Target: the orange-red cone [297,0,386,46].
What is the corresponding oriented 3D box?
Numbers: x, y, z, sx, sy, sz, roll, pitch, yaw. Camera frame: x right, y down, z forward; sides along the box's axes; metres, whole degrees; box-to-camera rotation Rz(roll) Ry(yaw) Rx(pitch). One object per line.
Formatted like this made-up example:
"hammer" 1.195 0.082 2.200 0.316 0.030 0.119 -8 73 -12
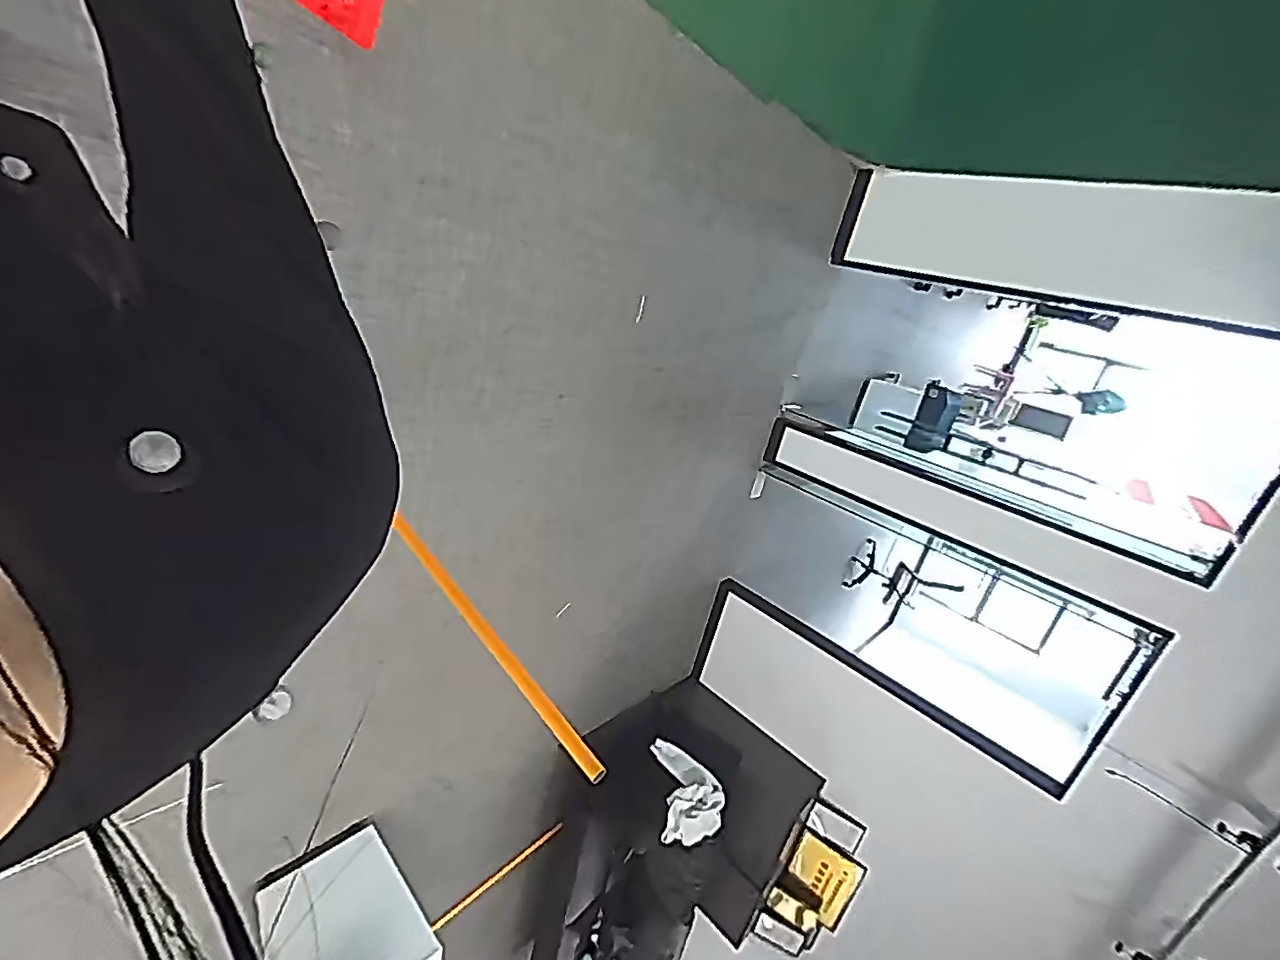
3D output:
"orange-red cone" -0.503 -0.982 1.010 0.198 0.360 0.199 9 107 -52
